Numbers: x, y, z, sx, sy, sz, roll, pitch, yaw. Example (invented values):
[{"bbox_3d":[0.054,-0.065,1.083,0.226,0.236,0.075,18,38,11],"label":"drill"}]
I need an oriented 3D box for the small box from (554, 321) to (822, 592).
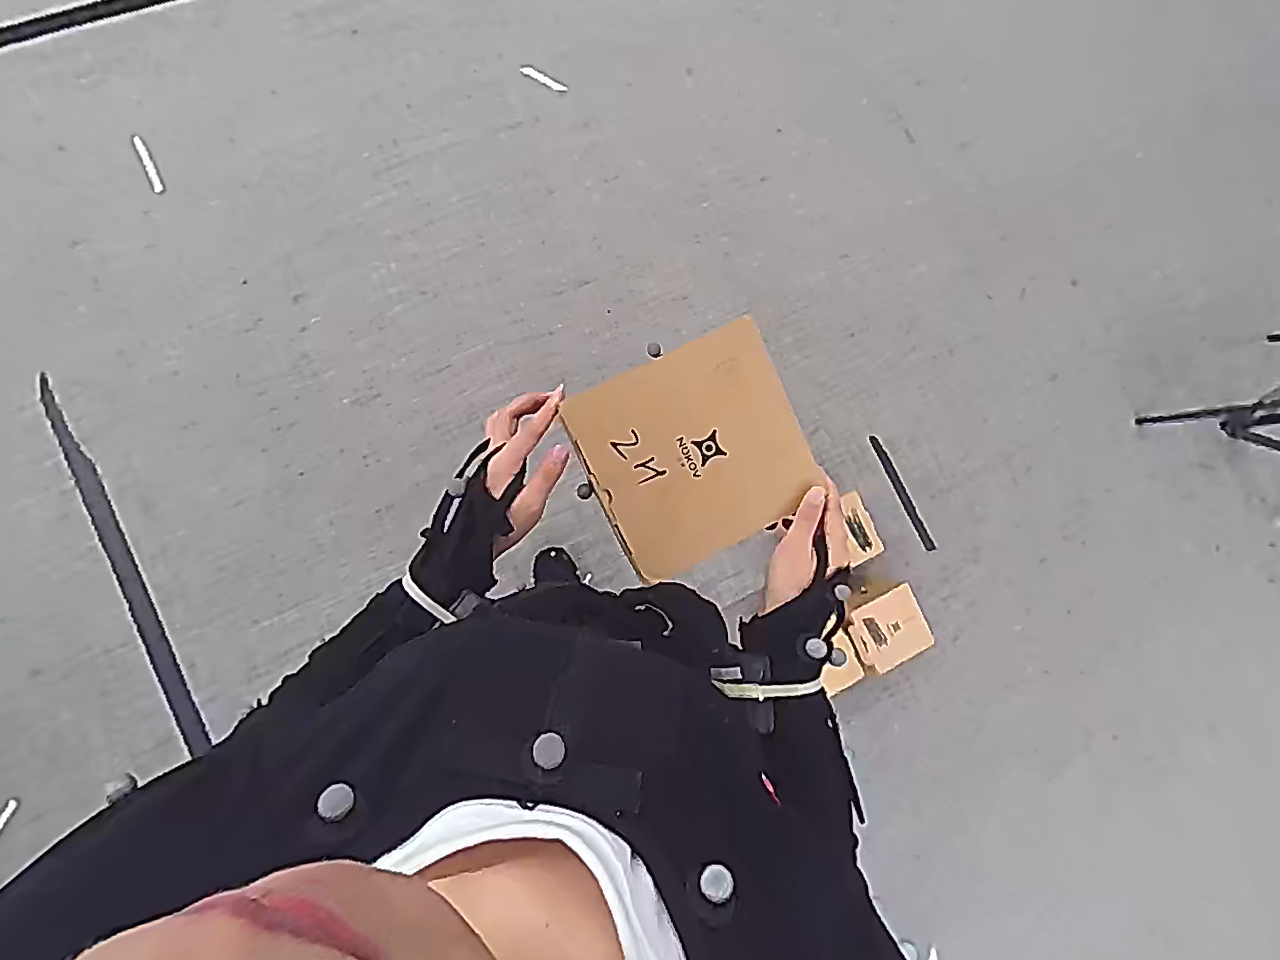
[{"bbox_3d":[0.030,-0.025,0.508,0.179,0.176,0.168,-27,97,-6],"label":"small box"}]
